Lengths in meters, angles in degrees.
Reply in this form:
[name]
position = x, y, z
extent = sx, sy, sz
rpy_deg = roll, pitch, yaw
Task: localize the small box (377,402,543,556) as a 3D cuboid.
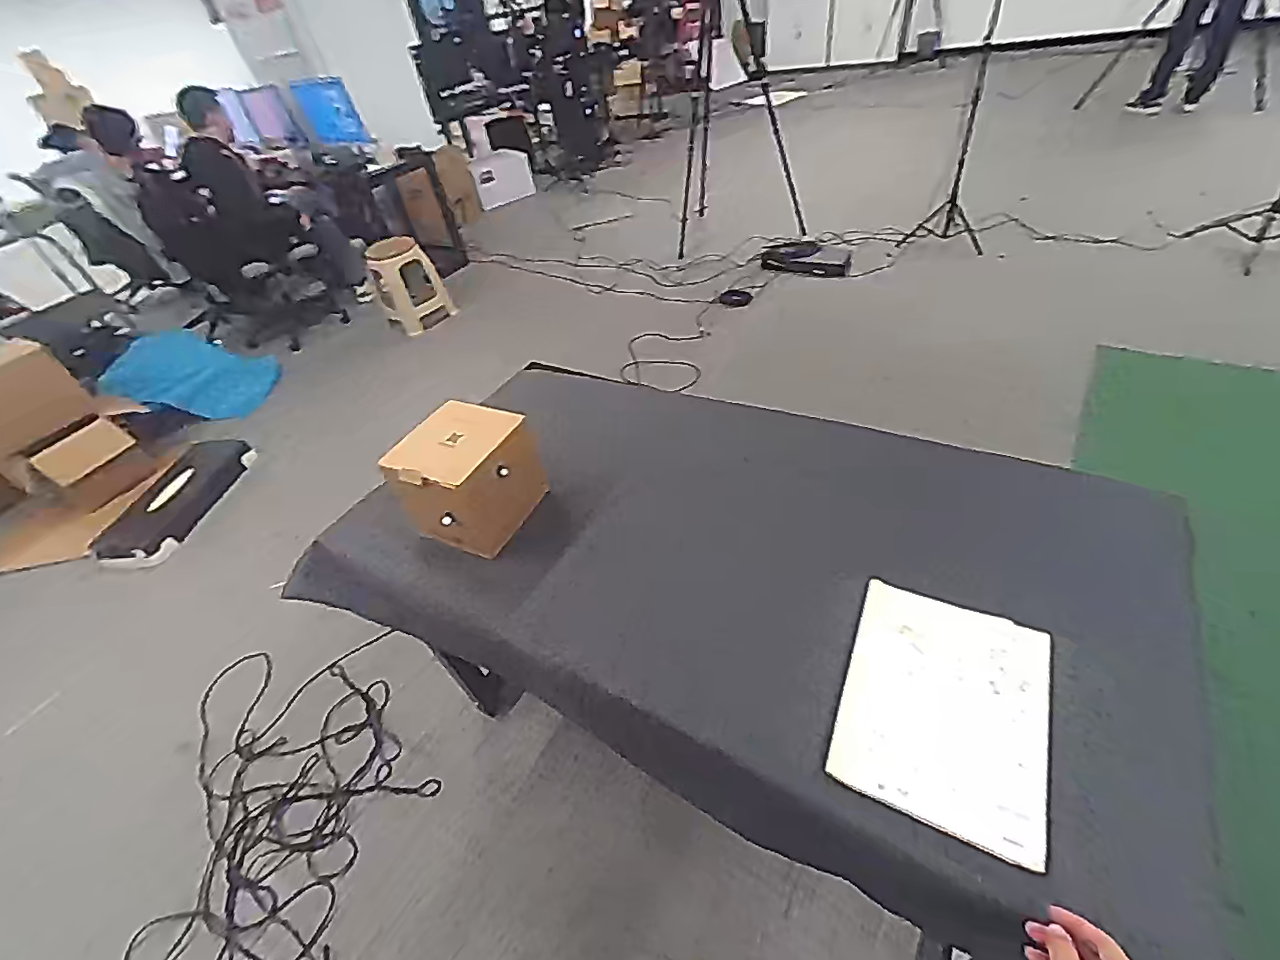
[small box]
position = -0.282, -0.002, 0.895
extent = 0.168, 0.176, 0.179
rpy_deg = 14, 47, 23
